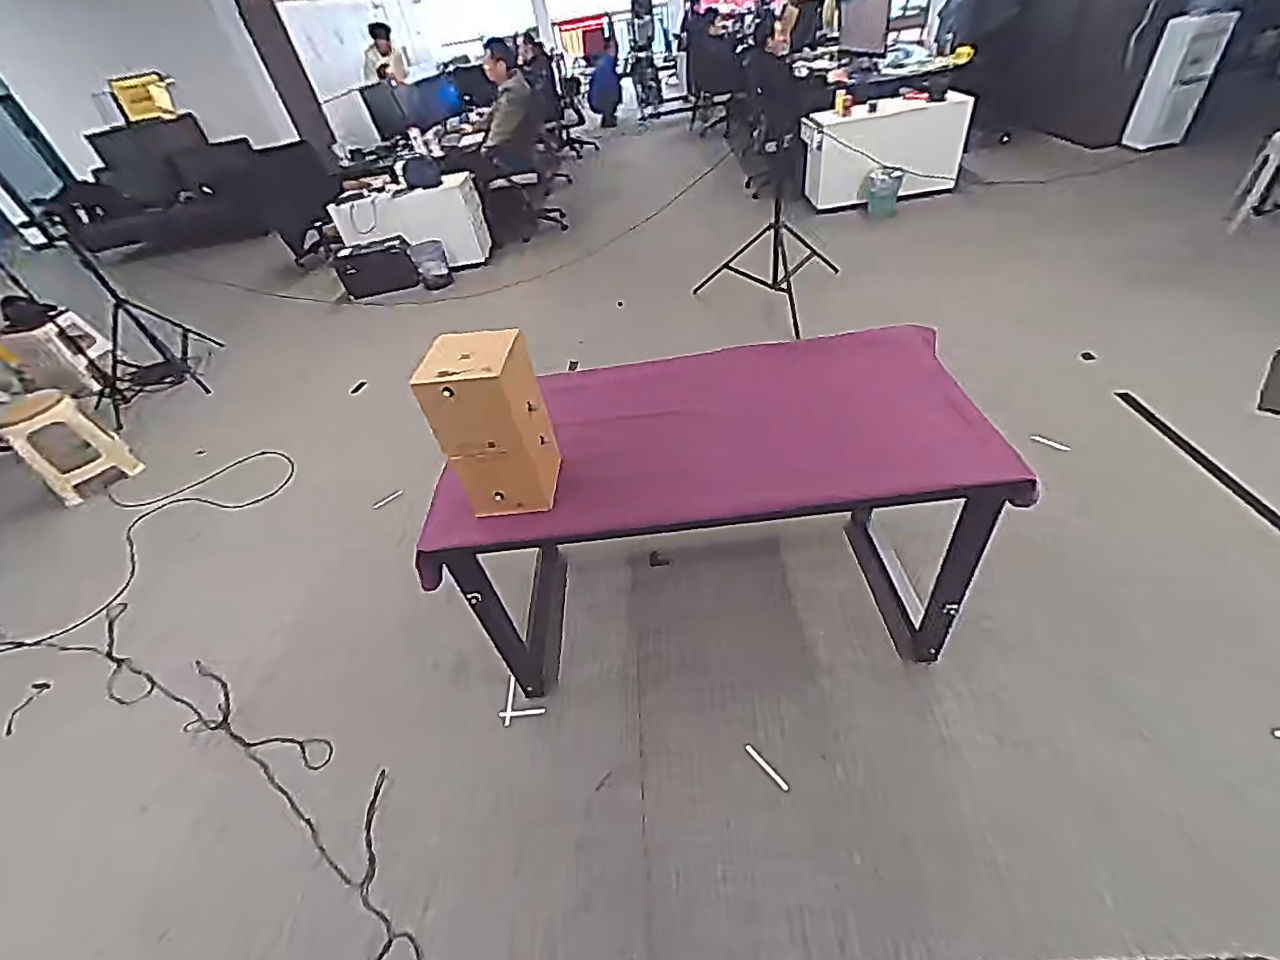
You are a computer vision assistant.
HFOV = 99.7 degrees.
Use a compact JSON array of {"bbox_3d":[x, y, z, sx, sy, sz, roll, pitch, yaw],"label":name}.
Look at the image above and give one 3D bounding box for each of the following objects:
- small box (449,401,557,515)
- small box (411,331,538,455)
[{"bbox_3d":[-0.279,-0.047,1.150,0.168,0.176,0.179,-5,42,6],"label":"small box"},{"bbox_3d":[-0.305,-0.167,1.042,0.168,0.176,0.179,-4,42,7],"label":"small box"}]
